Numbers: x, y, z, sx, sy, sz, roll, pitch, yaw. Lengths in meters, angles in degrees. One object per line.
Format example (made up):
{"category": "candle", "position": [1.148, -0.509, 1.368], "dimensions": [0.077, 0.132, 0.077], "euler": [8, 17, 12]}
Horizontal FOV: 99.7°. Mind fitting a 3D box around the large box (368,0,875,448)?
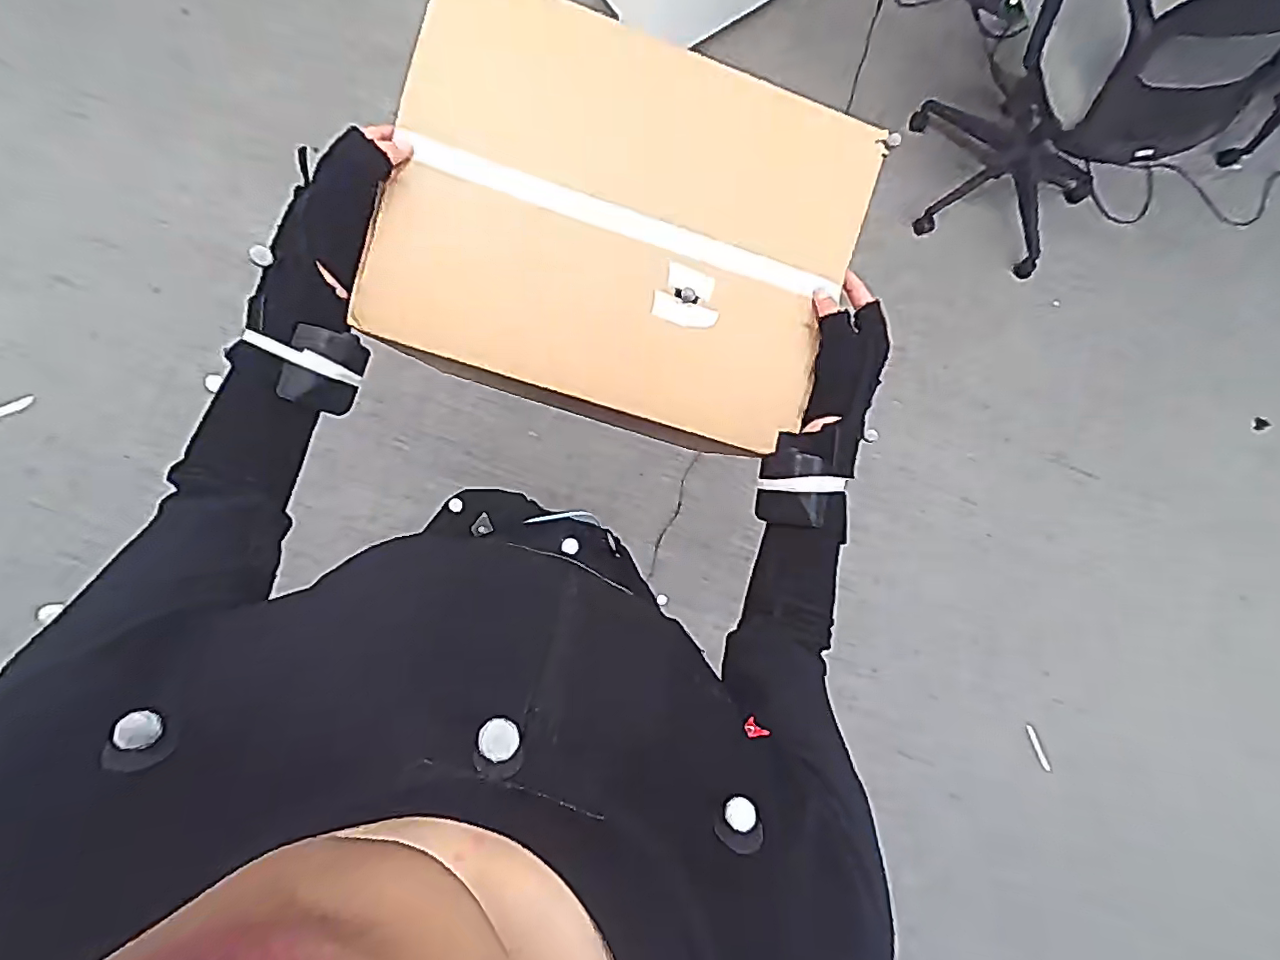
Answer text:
{"category": "large box", "position": [-0.028, -0.238, 0.630], "dimensions": [0.408, 0.320, 0.320], "euler": [16, 93, -9]}
